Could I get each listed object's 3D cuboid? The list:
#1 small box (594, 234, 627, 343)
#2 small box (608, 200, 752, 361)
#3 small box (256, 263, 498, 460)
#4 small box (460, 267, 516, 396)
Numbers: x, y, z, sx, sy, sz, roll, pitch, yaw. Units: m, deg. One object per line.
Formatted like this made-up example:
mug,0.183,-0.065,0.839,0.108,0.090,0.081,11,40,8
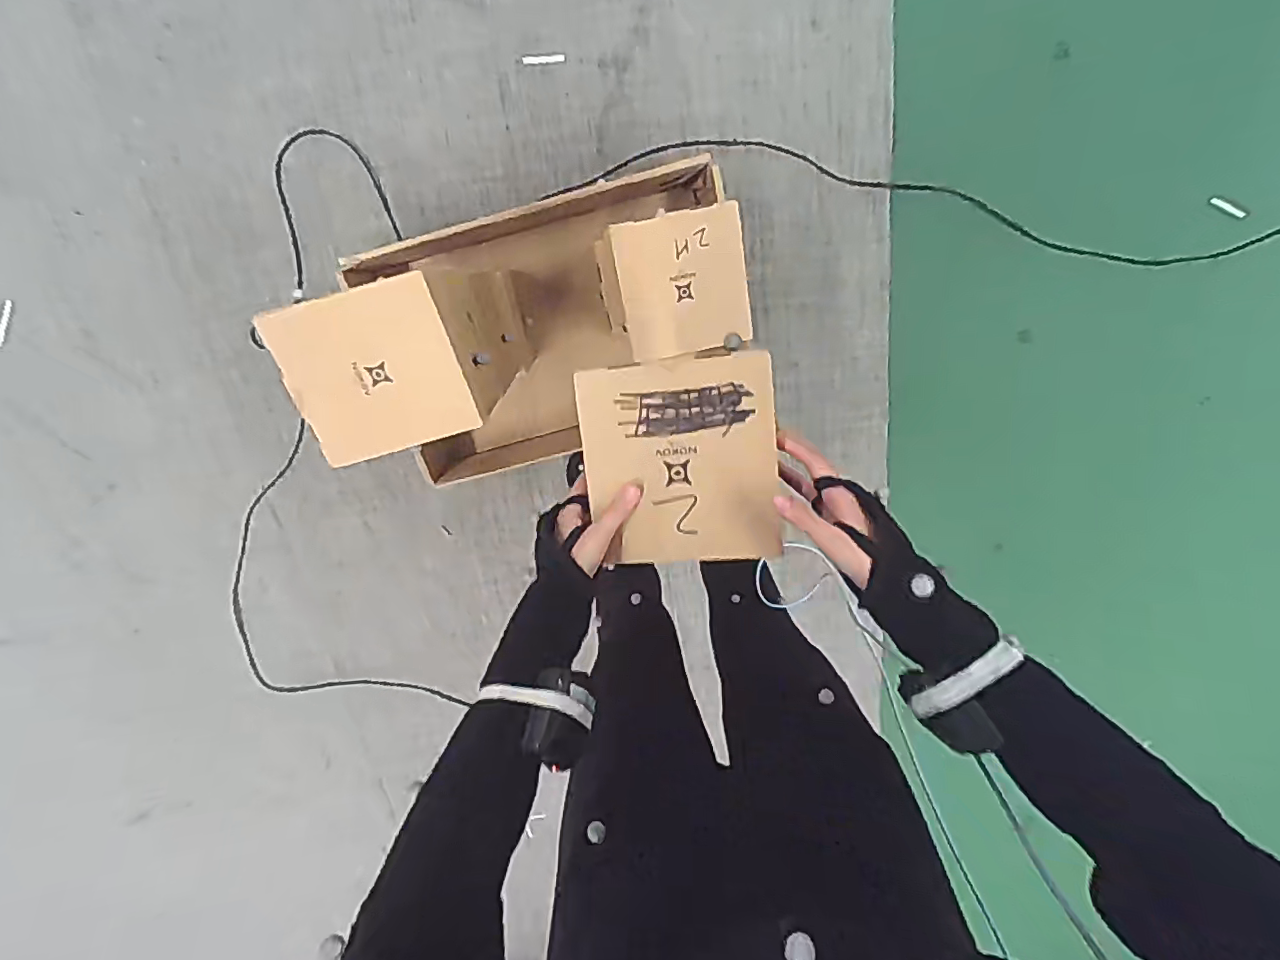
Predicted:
small box,0.023,-0.337,0.924,0.179,0.176,0.168,-11,111,0
small box,0.051,-0.281,0.771,0.168,0.176,0.179,-11,110,-2
small box,-0.275,-0.145,0.621,0.179,0.176,0.168,-15,113,2
small box,-0.290,-0.203,0.772,0.179,0.176,0.168,-11,112,-2
